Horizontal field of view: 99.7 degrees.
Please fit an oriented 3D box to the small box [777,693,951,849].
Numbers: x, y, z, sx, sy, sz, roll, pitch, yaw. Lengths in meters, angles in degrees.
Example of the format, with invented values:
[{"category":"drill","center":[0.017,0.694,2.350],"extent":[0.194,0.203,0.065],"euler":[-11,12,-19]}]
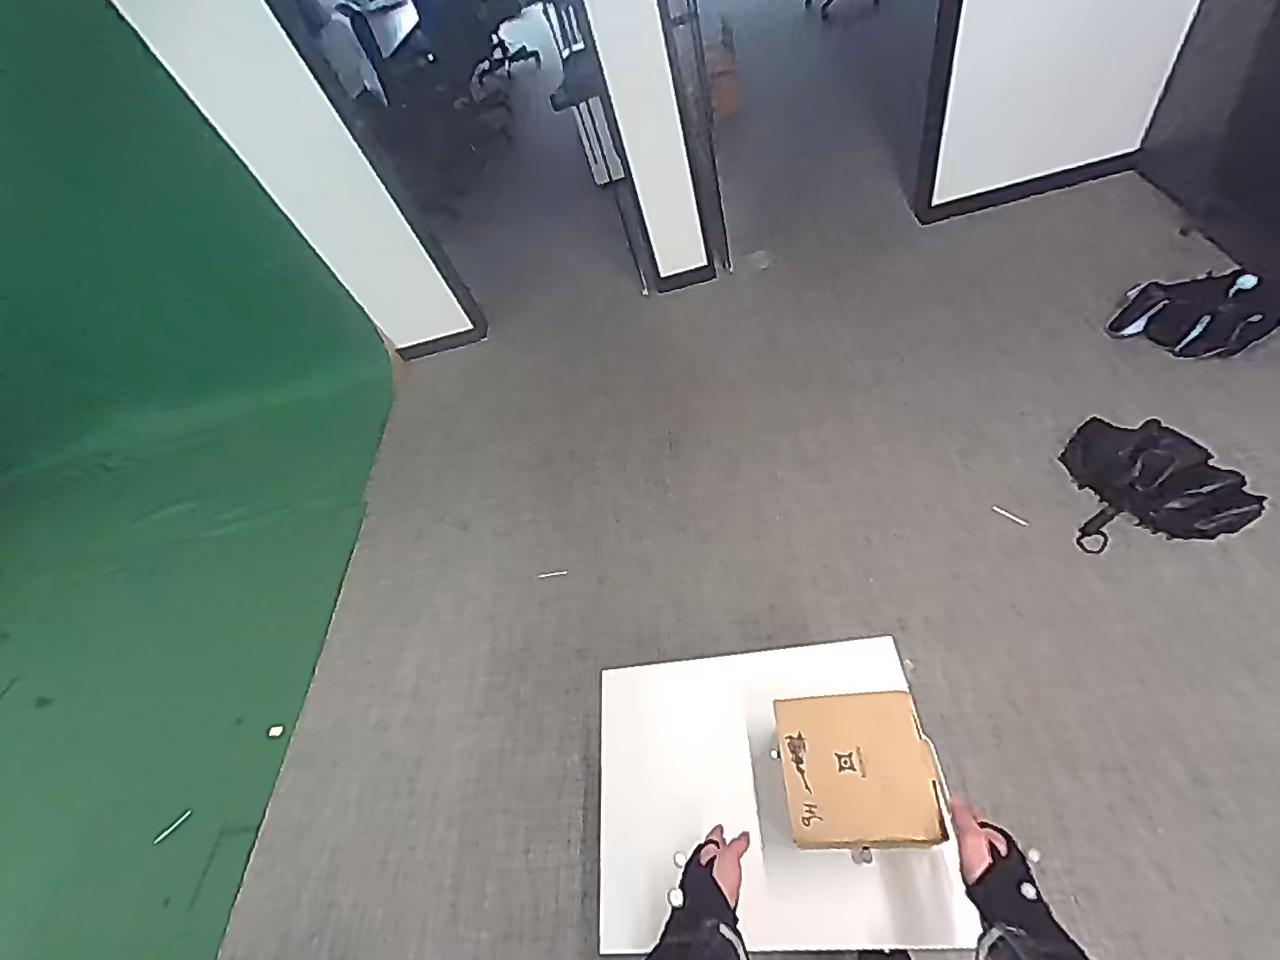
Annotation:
[{"category":"small box","center":[0.285,0.396,0.731],"extent":[0.179,0.176,0.168],"euler":[-8,53,11]}]
